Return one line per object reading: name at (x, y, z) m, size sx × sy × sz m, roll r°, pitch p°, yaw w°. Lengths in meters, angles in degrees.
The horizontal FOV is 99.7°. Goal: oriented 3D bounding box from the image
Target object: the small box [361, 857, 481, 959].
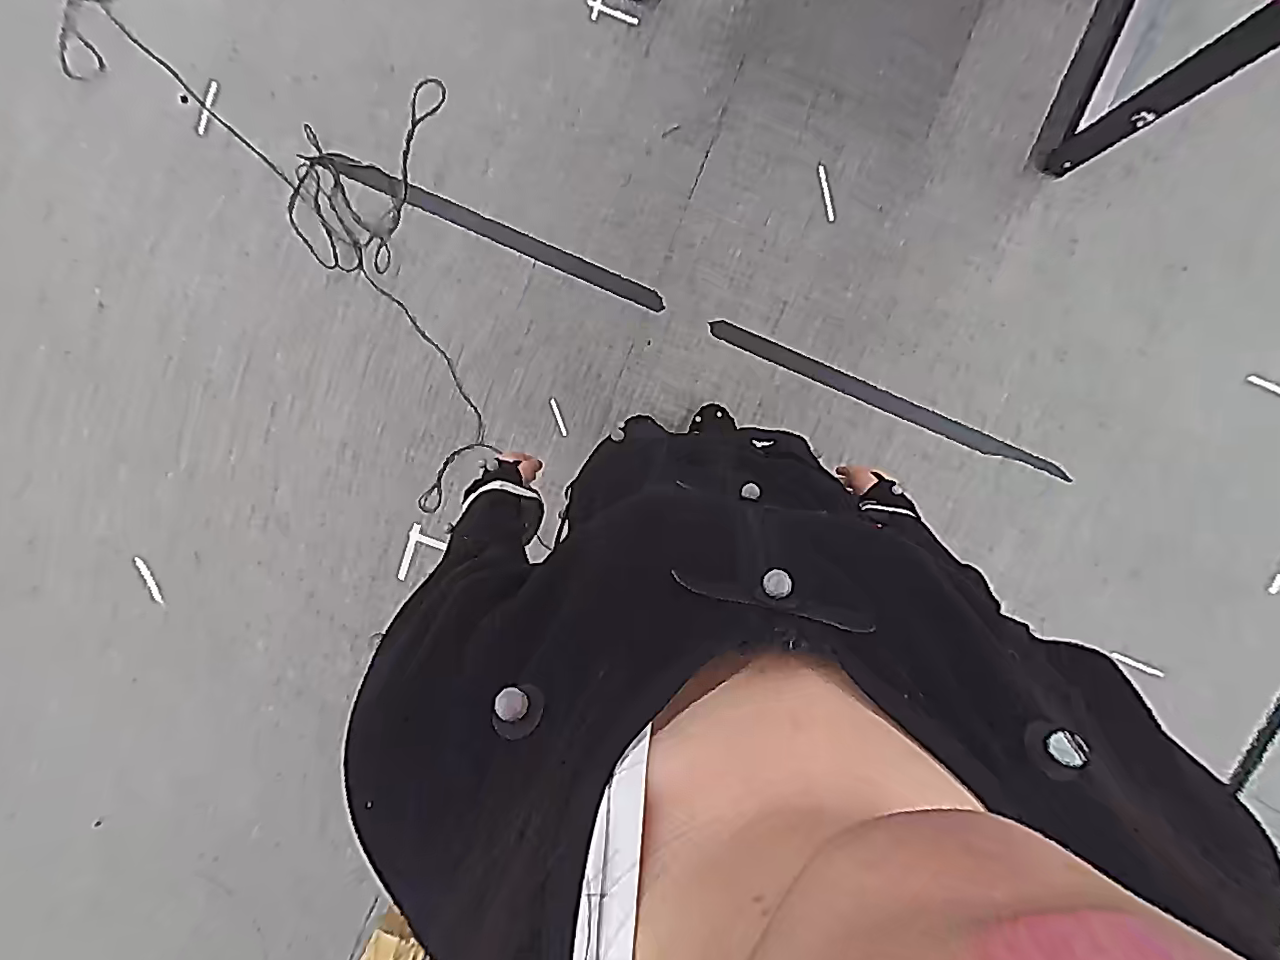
small box at (-0.436, 0.904, 1.070) m, size 0.168 × 0.176 × 0.179 m, roll 27°, pitch 97°, yaw -1°
